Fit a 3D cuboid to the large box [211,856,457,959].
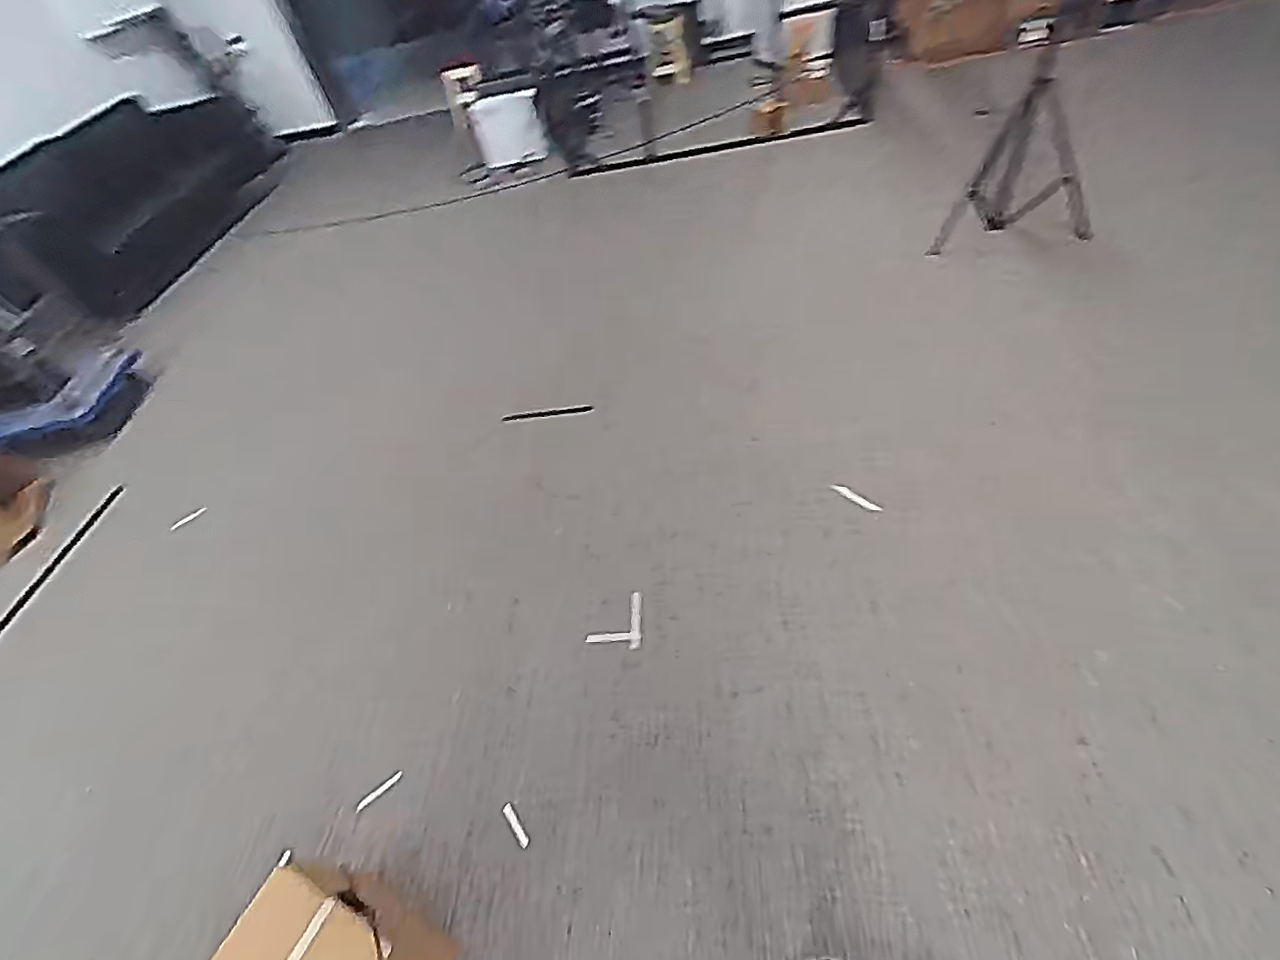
[{"bbox_3d":[-0.634,1.025,1.023,0.320,0.320,0.408,15,54,23],"label":"large box"}]
